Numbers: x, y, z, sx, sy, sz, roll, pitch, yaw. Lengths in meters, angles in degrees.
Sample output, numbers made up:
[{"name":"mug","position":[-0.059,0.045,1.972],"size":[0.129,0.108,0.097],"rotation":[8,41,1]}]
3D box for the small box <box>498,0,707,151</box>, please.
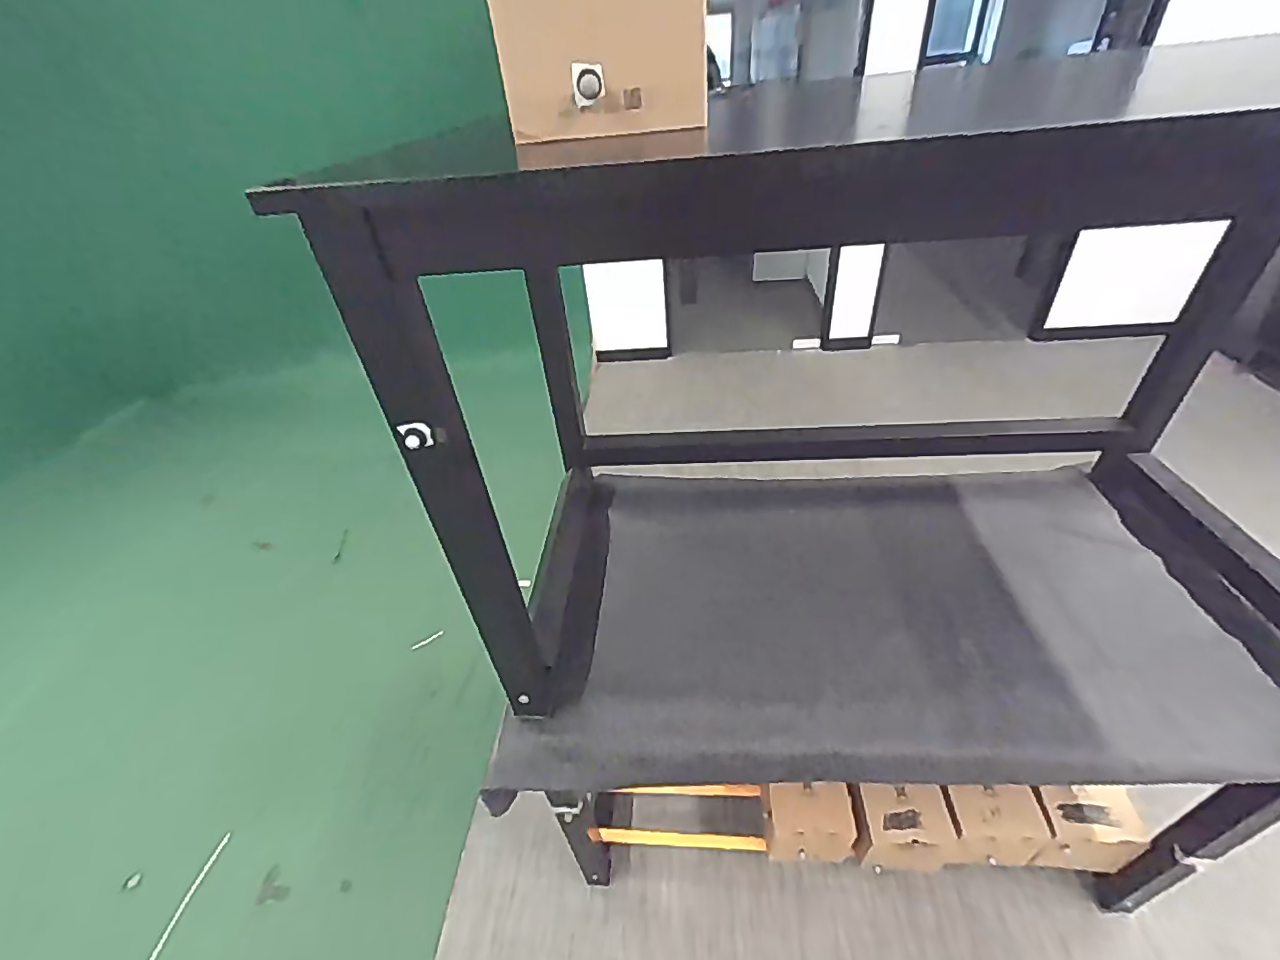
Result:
[{"name":"small box","position":[-0.029,-0.407,0.486],"size":[0.168,0.176,0.179],"rotation":[-4,39,4]}]
